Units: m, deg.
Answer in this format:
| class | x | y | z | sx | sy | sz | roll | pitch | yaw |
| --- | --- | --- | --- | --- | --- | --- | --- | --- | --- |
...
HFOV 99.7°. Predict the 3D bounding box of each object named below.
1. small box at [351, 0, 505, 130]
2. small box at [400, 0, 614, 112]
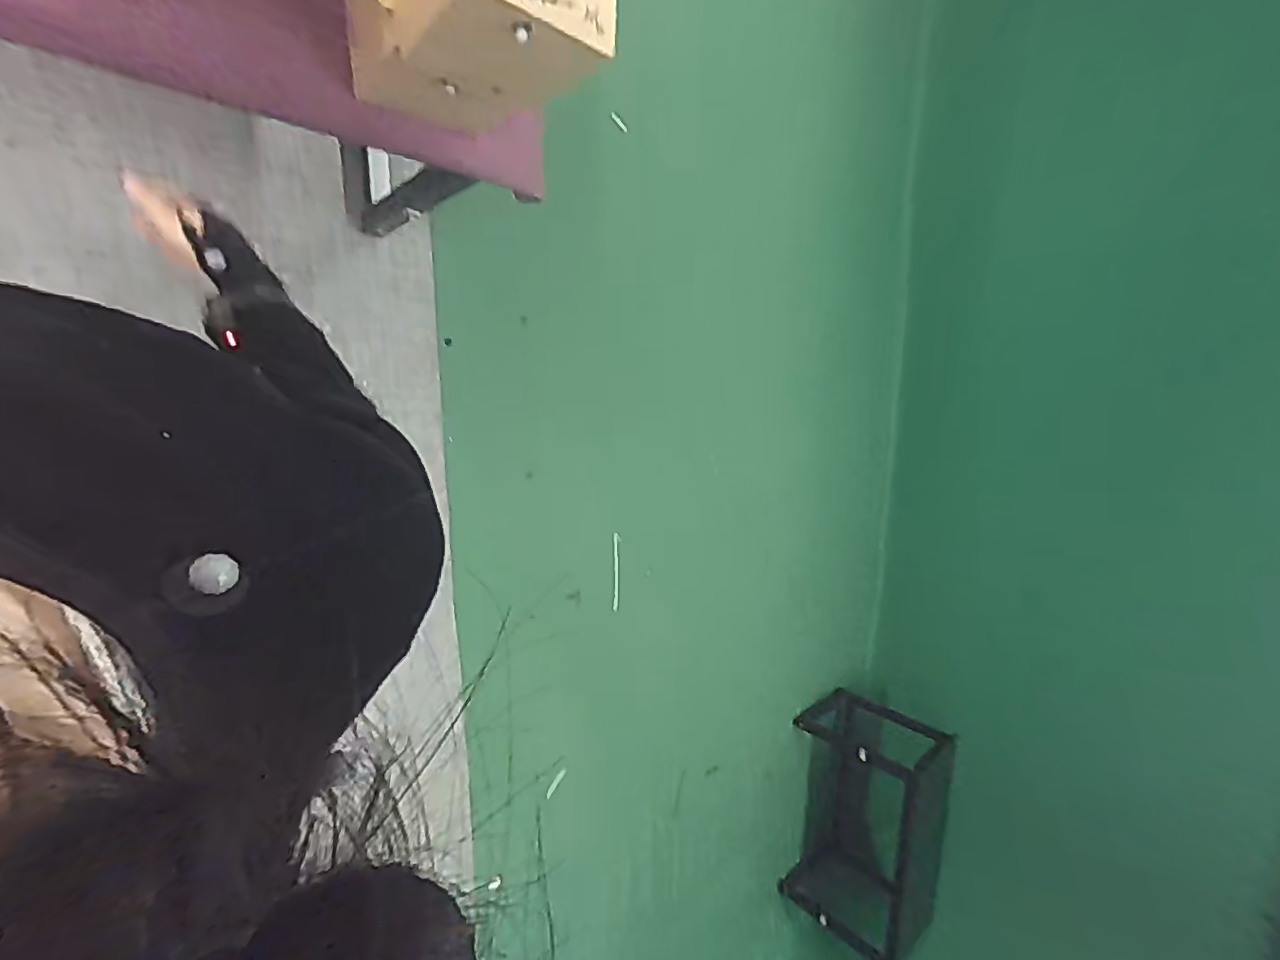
| class | x | y | z | sx | sy | sz | roll | pitch | yaw |
| --- | --- | --- | --- | --- | --- | --- | --- | --- | --- |
| small box | -0.252 | -0.574 | 0.681 | 0.179 | 0.176 | 0.168 | -10 | 105 | -42 |
| small box | -0.142 | -0.534 | 0.565 | 0.168 | 0.176 | 0.179 | -7 | 102 | -42 |
